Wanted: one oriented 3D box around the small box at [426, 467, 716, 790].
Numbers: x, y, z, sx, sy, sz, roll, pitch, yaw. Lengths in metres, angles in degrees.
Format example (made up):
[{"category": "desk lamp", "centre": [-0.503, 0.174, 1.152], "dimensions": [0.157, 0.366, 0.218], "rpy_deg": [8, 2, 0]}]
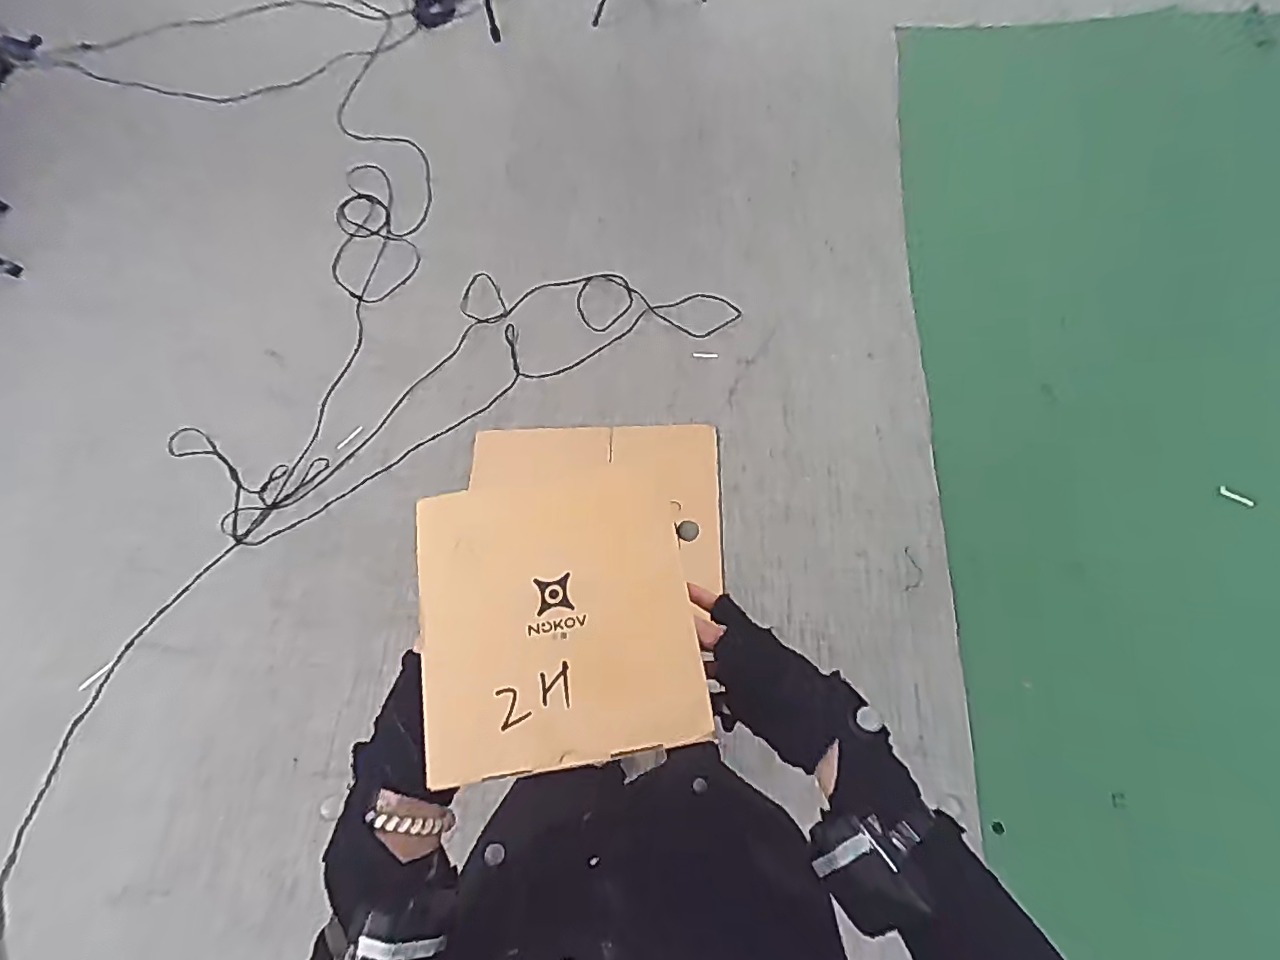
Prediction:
[{"category": "small box", "centre": [-0.045, 0.110, 0.405], "dimensions": [0.168, 0.176, 0.179], "rpy_deg": [-9, 70, 0]}]
